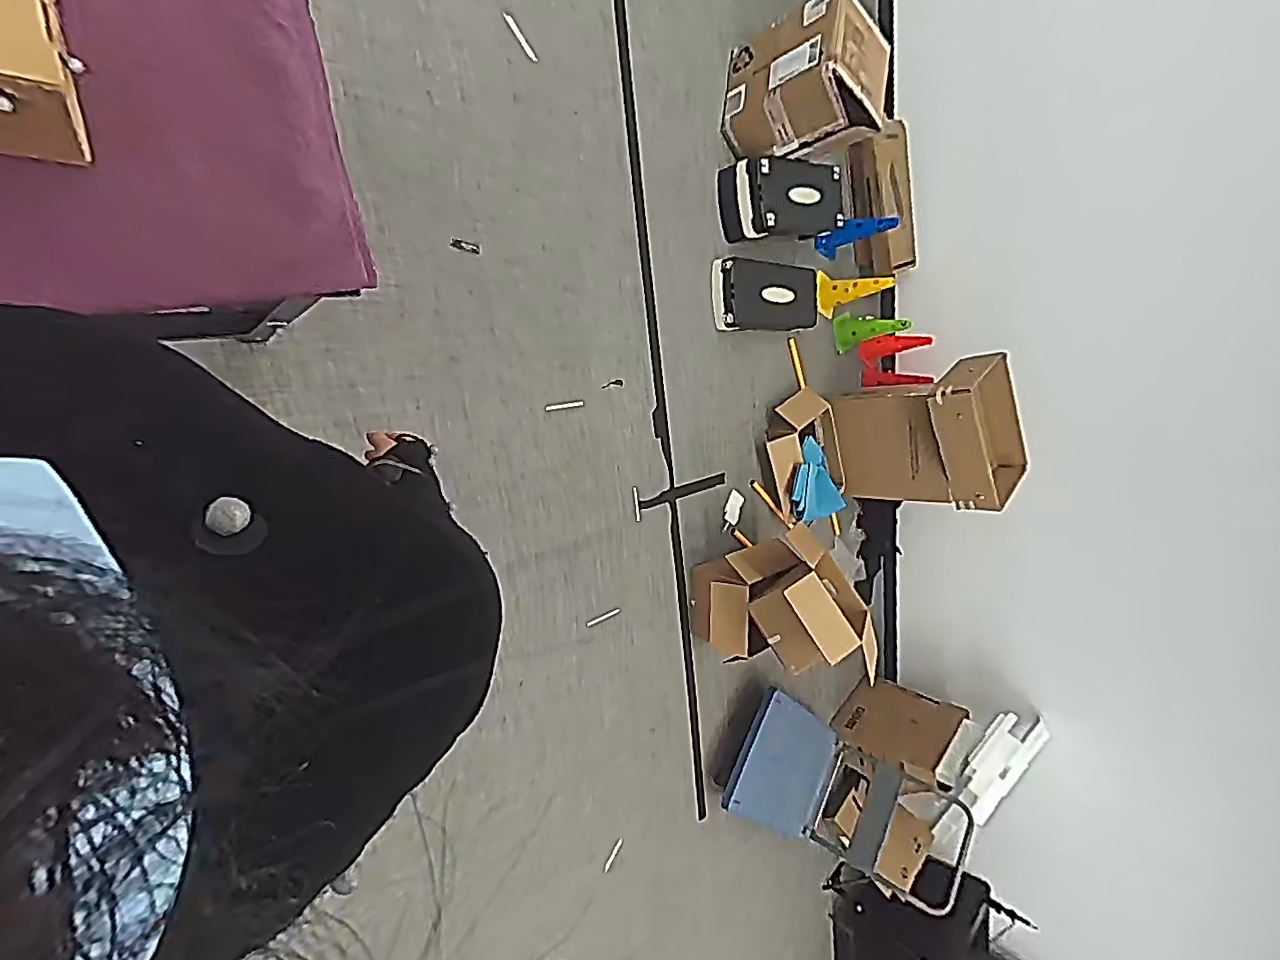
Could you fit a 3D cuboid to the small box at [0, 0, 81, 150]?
[{"bbox_3d":[-0.572,-0.382,0.411,0.179,0.176,0.168,-13,102,-41],"label":"small box"}]
